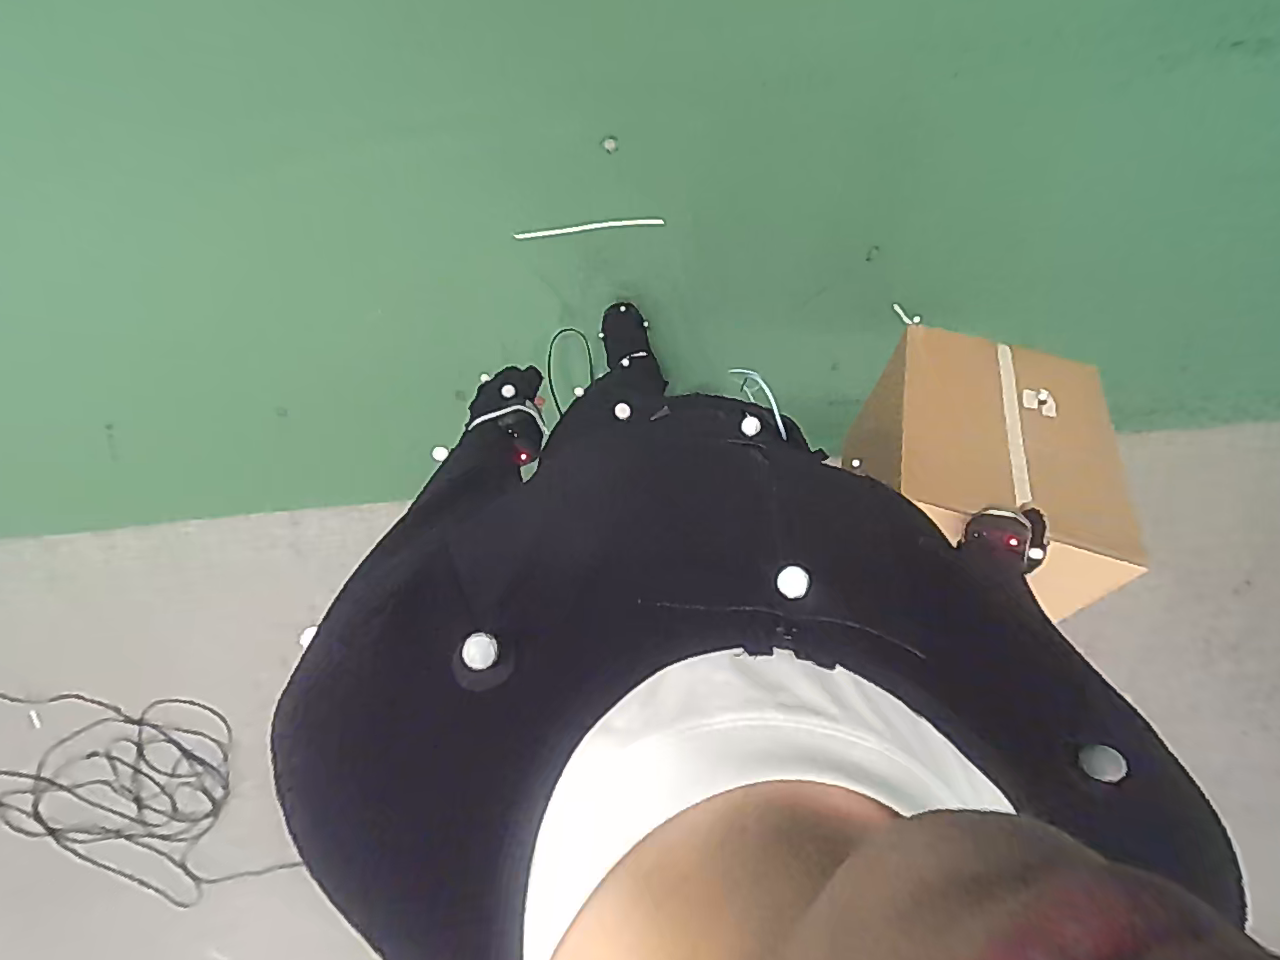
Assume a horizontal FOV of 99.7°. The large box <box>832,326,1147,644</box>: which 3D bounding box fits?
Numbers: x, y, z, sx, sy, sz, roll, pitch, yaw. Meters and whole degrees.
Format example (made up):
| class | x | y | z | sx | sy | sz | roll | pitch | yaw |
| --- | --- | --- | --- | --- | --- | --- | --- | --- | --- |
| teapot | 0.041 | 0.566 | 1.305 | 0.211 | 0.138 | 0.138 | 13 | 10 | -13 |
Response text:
| class | x | y | z | sx | sy | sz | roll | pitch | yaw |
| --- | --- | --- | --- | --- | --- | --- | --- | --- | --- |
| large box | 0.543 | 0.006 | 0.933 | 0.320 | 0.408 | 0.320 | 17 | 143 | 8 |
